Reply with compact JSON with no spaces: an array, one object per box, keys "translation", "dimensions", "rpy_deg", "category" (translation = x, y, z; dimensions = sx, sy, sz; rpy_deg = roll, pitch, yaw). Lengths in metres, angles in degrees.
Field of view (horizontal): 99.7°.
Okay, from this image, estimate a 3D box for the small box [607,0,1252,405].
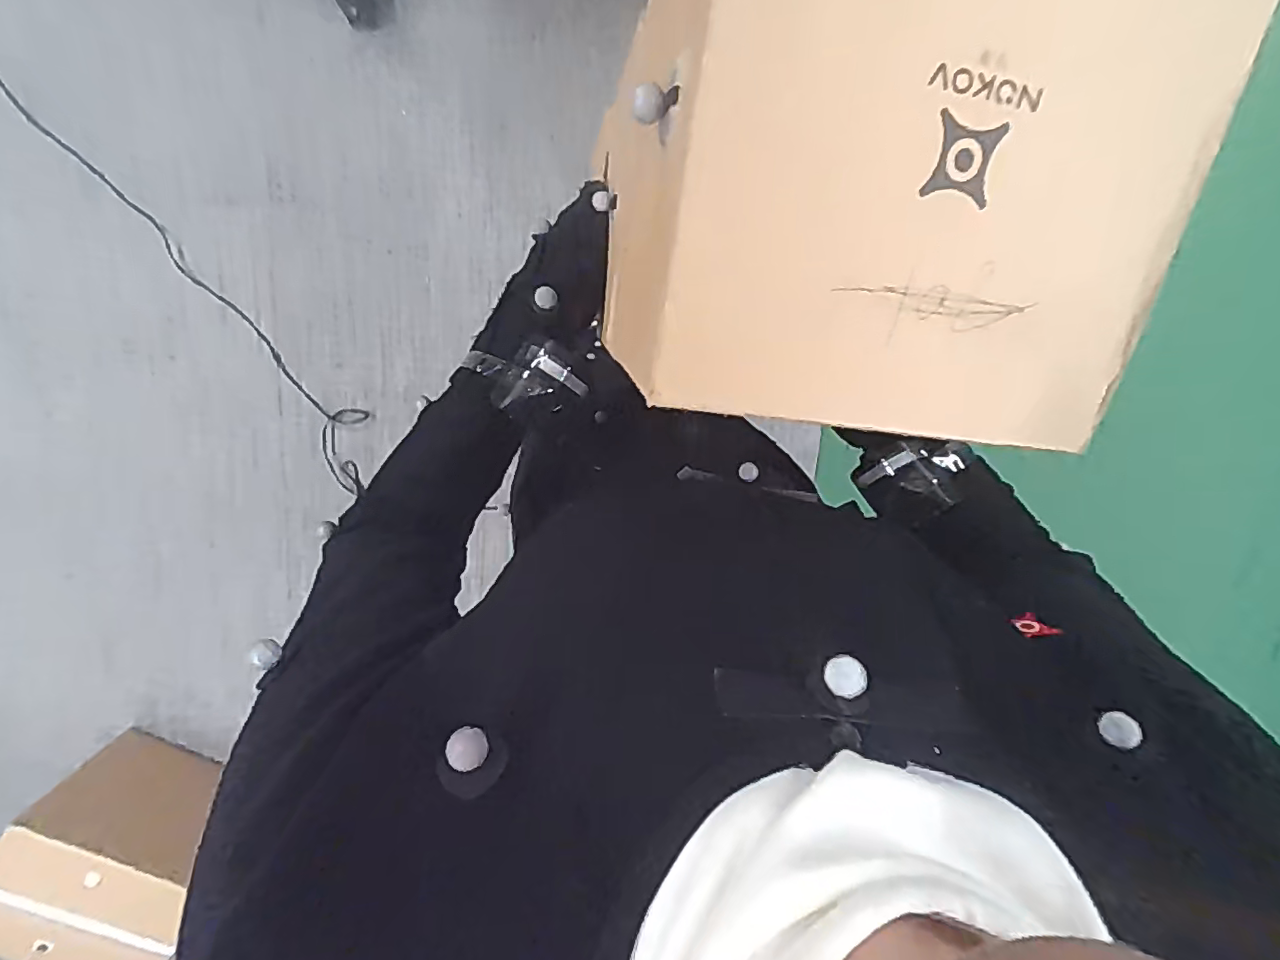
[{"translation":[0.079,-0.143,0.228],"dimensions":[0.168,0.176,0.179],"rpy_deg":[6,109,-9],"category":"small box"}]
